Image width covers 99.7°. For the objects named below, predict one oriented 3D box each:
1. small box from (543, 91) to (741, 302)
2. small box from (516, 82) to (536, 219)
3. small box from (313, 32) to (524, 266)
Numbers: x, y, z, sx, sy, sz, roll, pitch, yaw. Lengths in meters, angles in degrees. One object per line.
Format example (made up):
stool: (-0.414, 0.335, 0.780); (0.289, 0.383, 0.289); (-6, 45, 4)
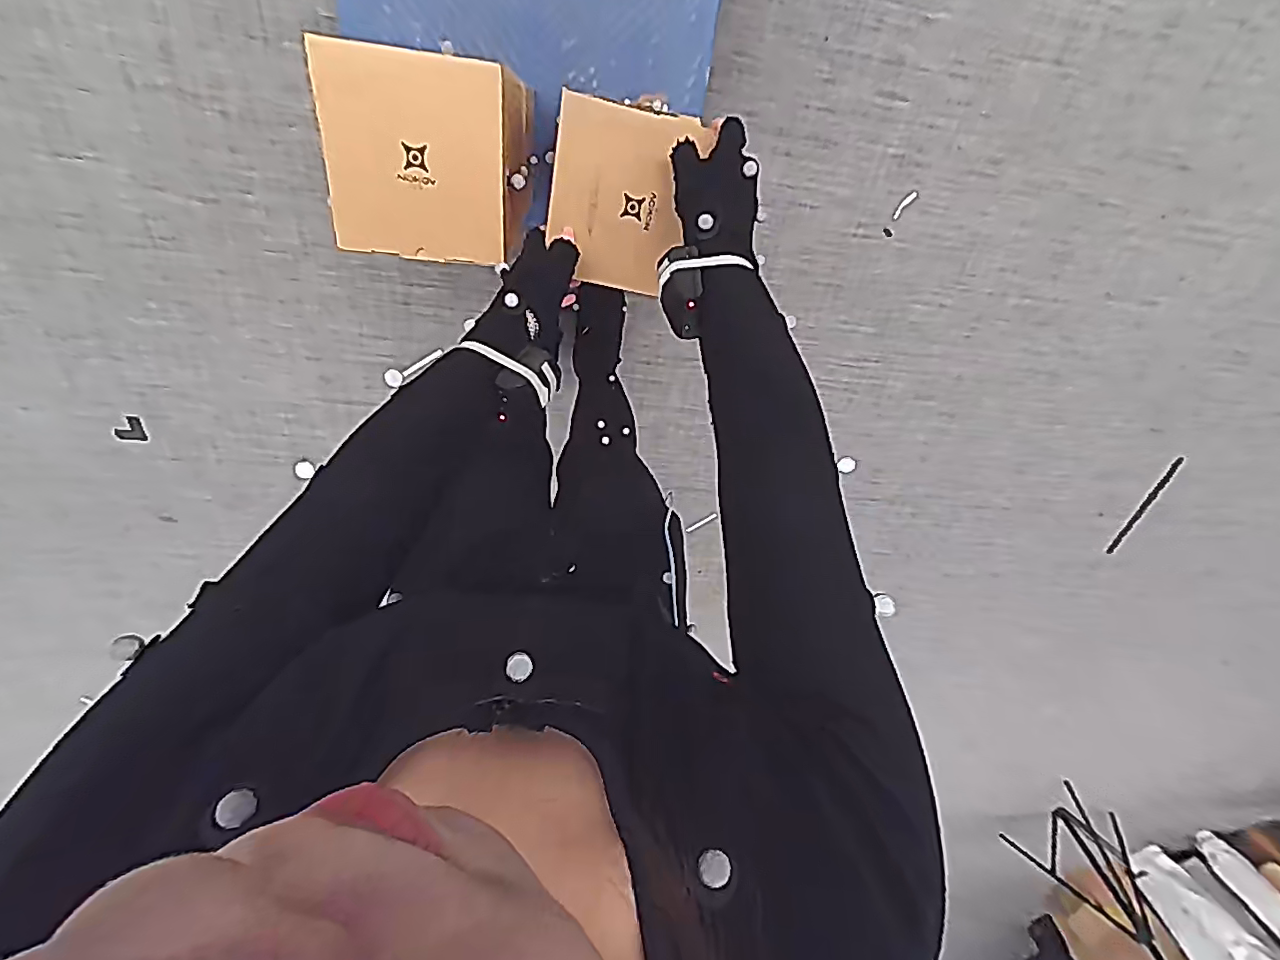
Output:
small box: (-0.008, -0.323, 0.620); (0.179, 0.176, 0.168); (9, 121, -10)
small box: (-0.254, -0.529, 0.853); (0.168, 0.176, 0.179); (2, 123, -8)
small box: (-0.218, -0.347, 0.582); (0.168, 0.176, 0.179); (3, 124, -8)
